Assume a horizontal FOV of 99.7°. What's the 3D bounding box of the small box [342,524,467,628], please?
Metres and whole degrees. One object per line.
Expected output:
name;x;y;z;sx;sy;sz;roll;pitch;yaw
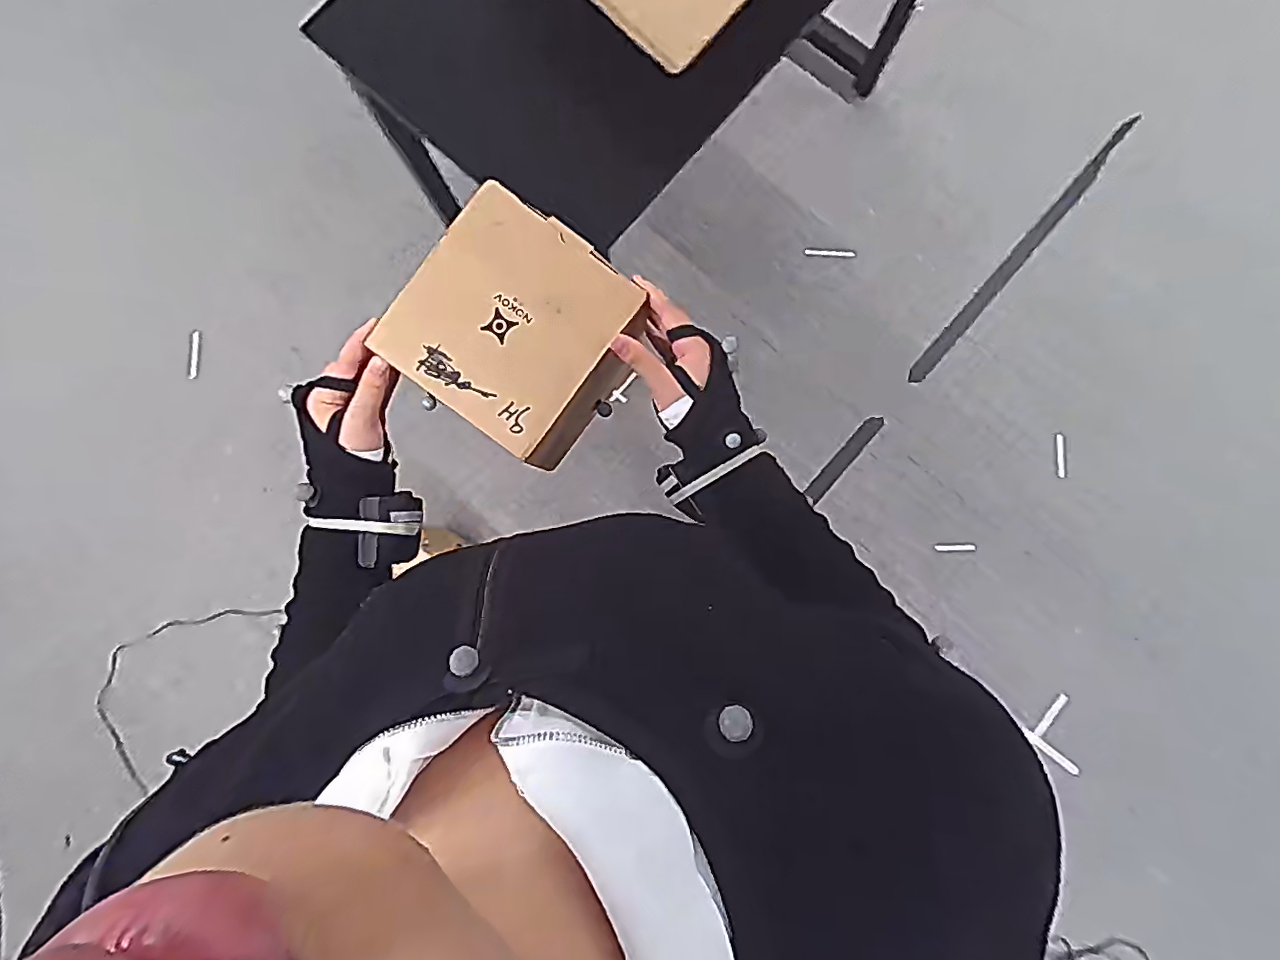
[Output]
small box;-0.538;0.216;1.263;0.179;0.176;0.168;34;86;4

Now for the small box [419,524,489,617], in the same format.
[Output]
small box;-0.531;0.234;1.425;0.179;0.176;0.168;37;87;3

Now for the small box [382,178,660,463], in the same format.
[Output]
small box;-0.102;-0.135;0.528;0.168;0.176;0.179;37;87;1
